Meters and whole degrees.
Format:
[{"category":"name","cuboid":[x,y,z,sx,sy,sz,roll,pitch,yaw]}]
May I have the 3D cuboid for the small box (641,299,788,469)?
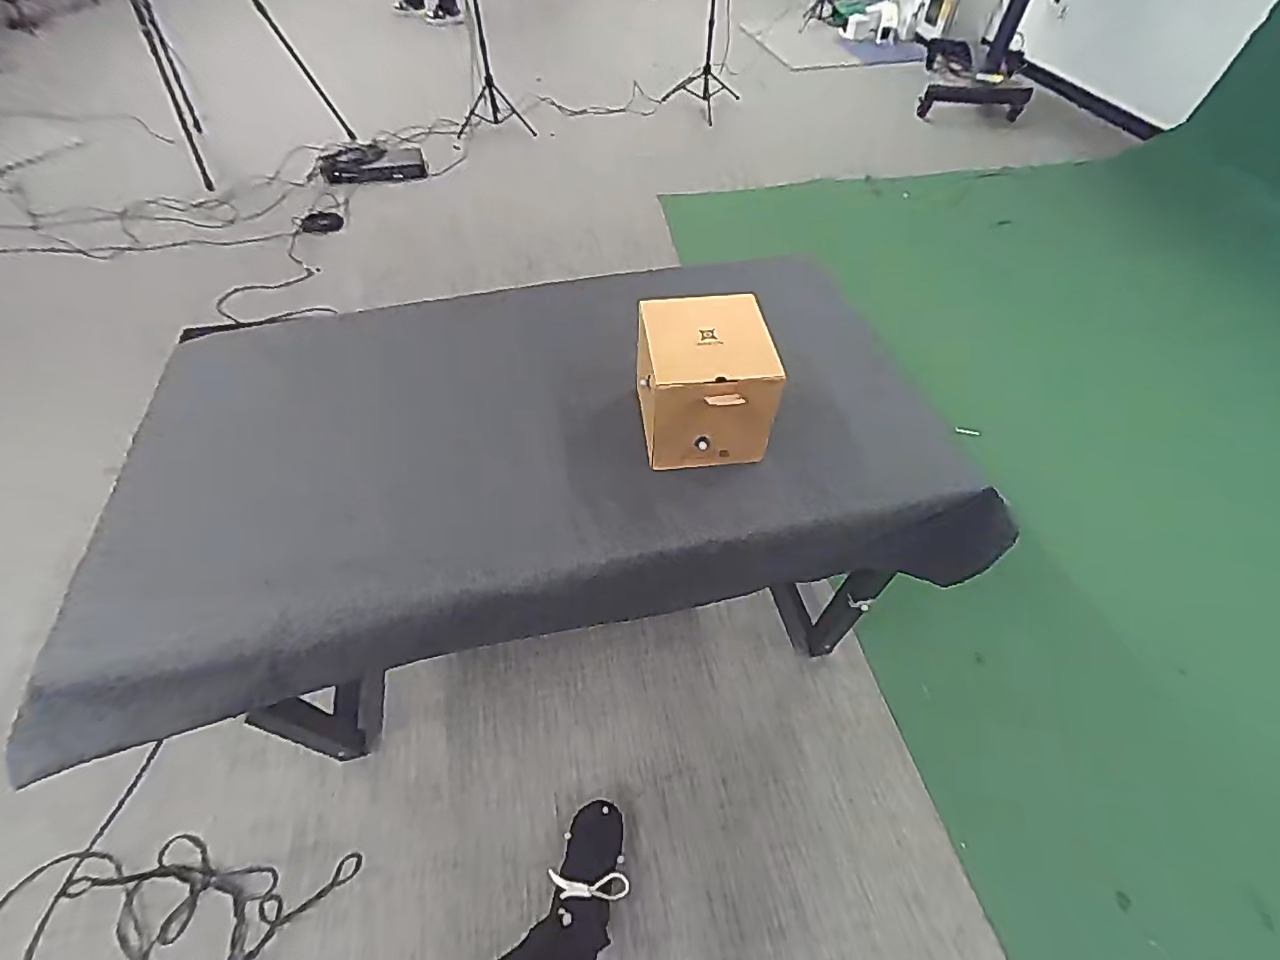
[{"category":"small box","cuboid":[0.092,-0.136,0.777,0.168,0.176,0.179,-5,53,-5]}]
